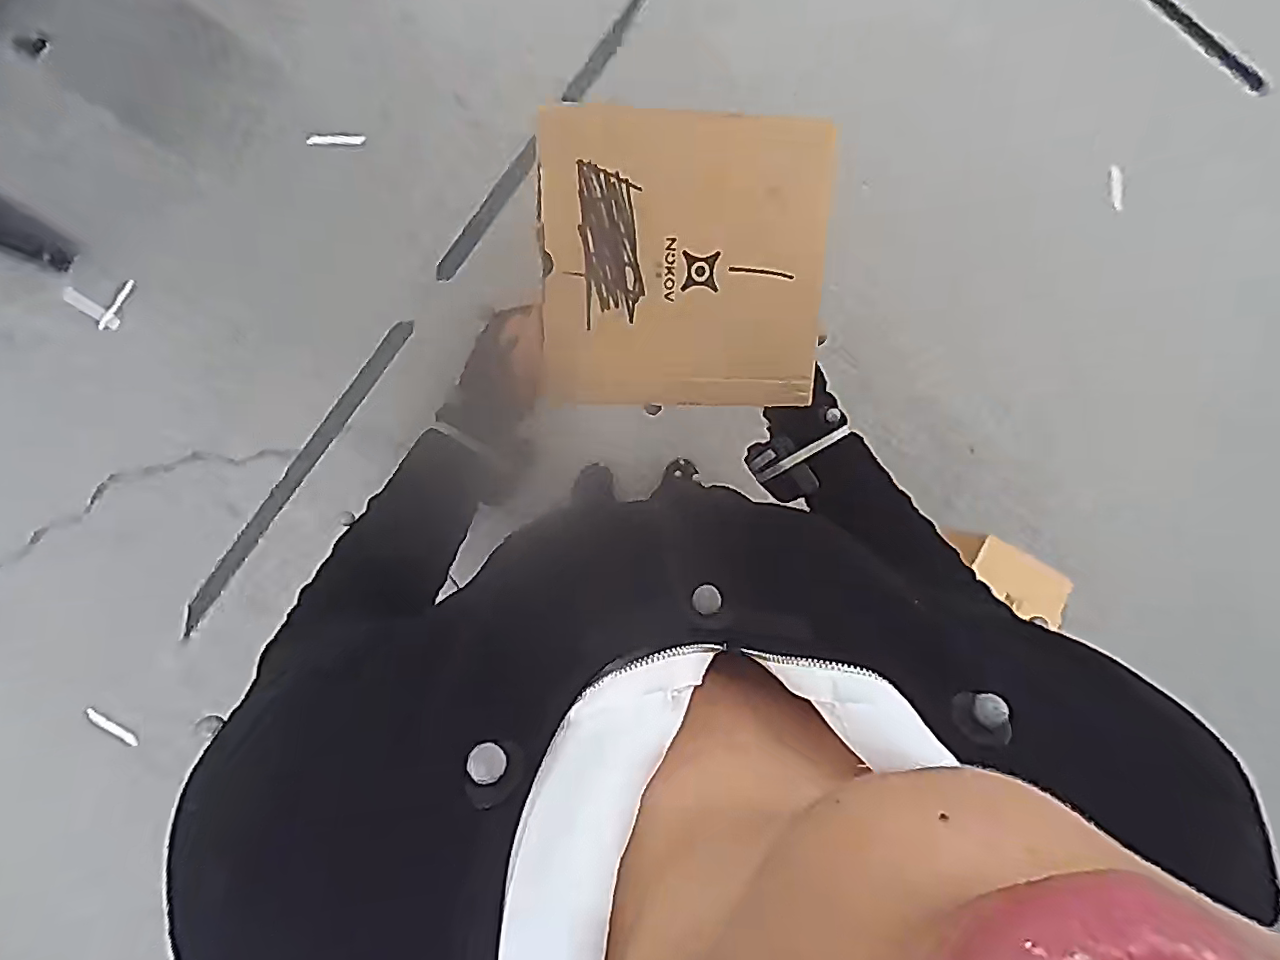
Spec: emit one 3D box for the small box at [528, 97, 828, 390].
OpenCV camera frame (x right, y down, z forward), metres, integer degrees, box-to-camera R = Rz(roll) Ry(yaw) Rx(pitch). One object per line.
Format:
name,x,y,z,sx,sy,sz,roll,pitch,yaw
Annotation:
small box,0.017,-0.160,0.407,0.179,0.176,0.168,-1,108,-5

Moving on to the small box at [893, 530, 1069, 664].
small box,0.609,0.200,0.989,0.179,0.176,0.168,30,87,0
